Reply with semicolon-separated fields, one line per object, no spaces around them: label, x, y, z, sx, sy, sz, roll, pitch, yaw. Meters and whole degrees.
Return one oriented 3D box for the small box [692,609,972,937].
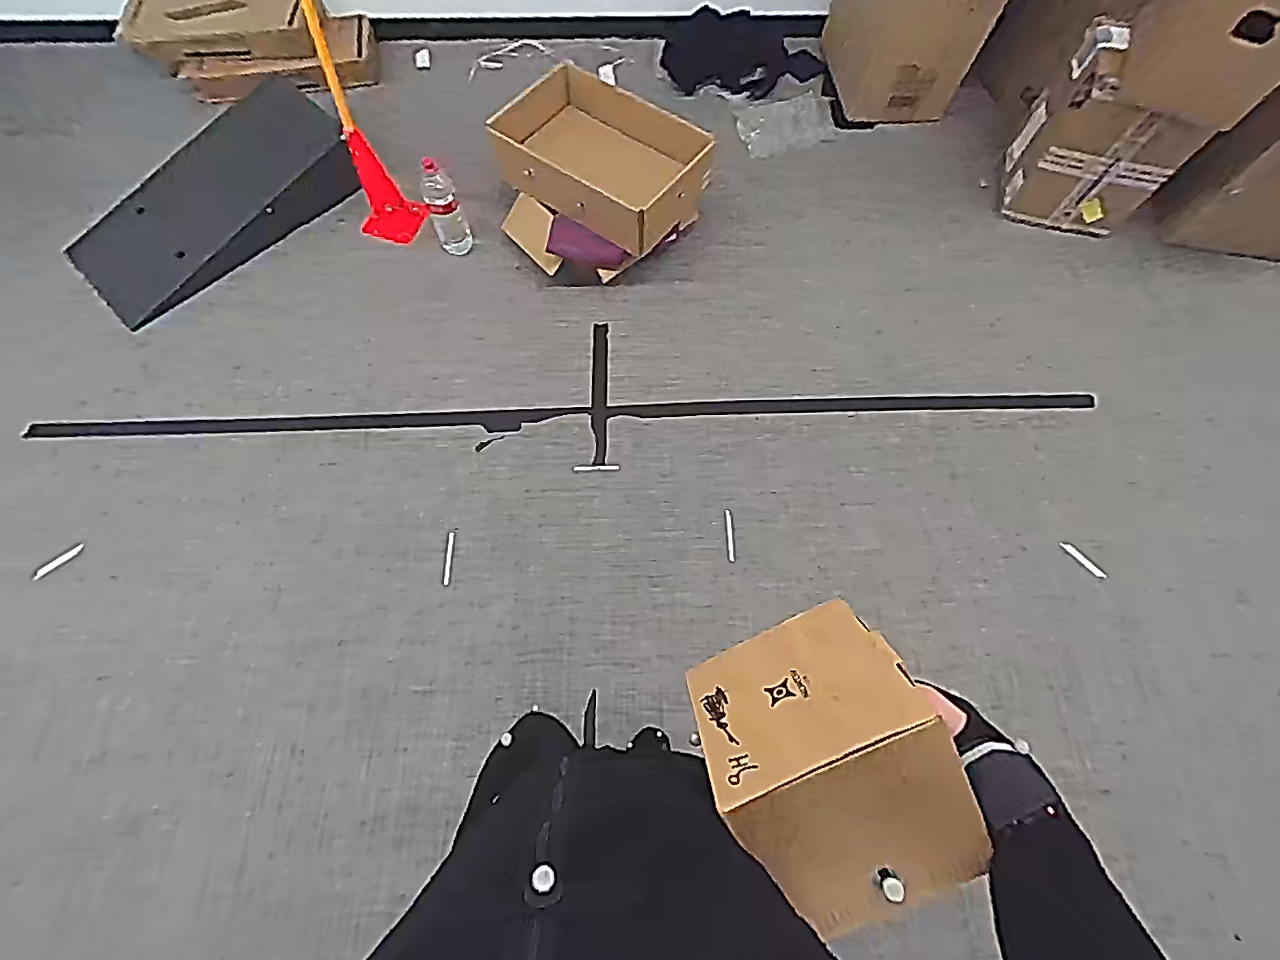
small box;0.171;0.259;0.498;0.179;0.168;0.176;-26;106;4
